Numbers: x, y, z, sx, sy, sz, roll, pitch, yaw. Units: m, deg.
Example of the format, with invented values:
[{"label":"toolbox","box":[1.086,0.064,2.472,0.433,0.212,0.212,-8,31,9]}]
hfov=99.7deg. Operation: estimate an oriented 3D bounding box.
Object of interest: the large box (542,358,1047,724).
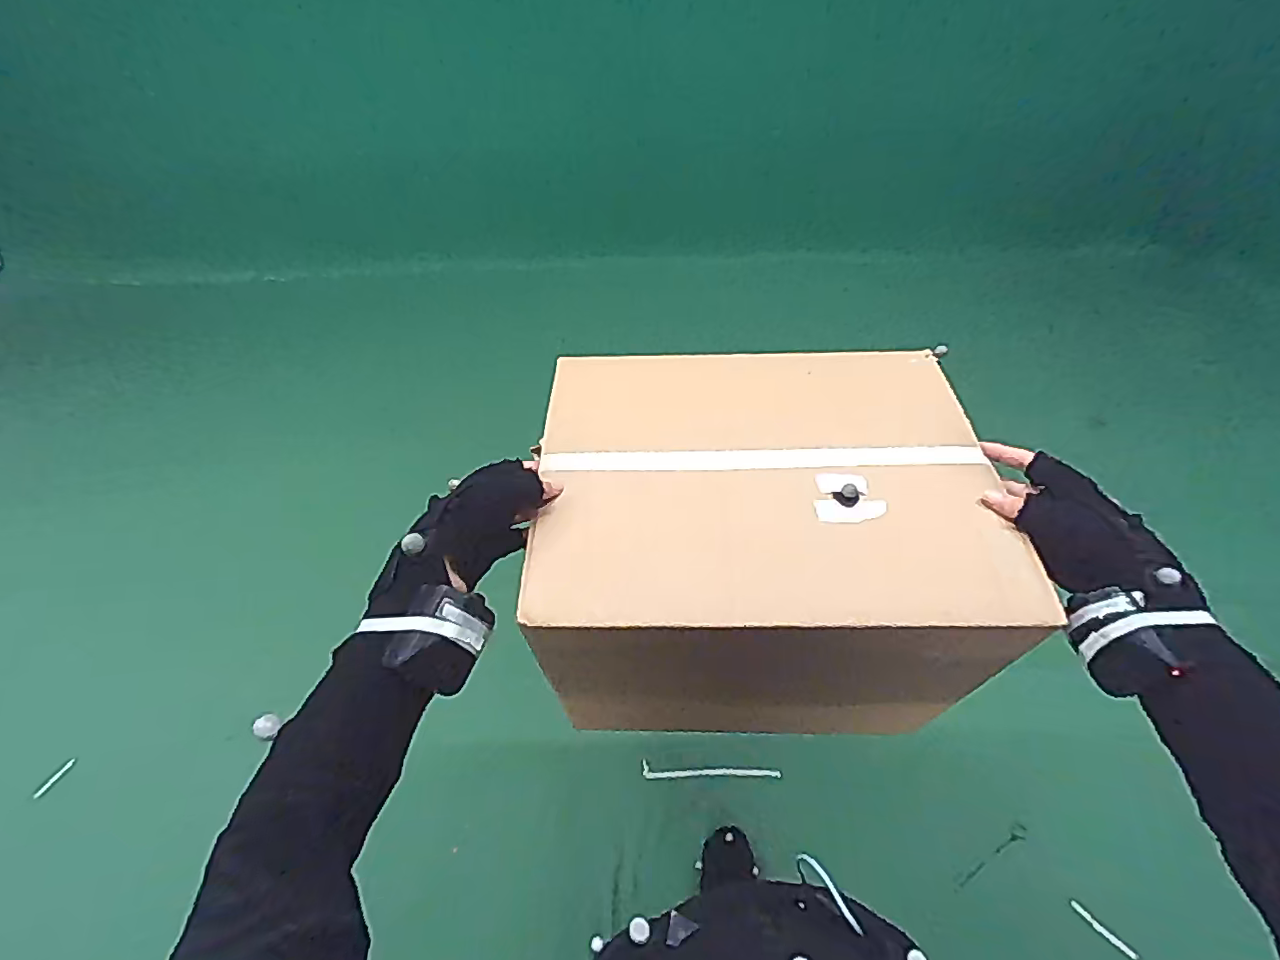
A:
[{"label":"large box","box":[0.120,0.079,0.628,0.408,0.320,0.320,0,52,1]}]
